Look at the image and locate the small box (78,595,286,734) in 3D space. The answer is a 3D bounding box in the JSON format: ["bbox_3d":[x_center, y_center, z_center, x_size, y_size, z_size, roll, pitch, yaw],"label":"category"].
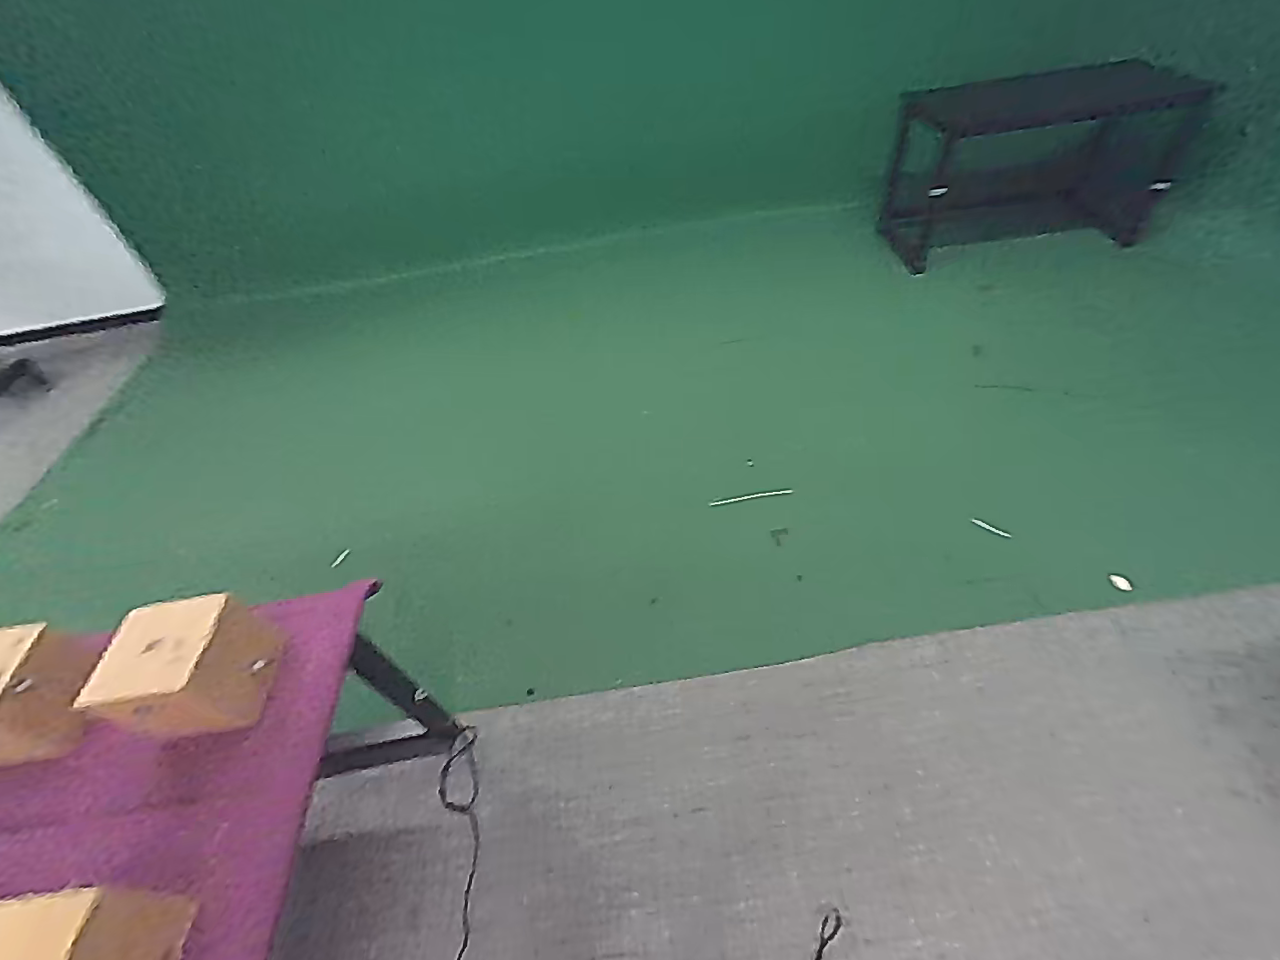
[{"bbox_3d":[-0.763,0.320,0.926,0.179,0.176,0.168,-9,48,2],"label":"small box"}]

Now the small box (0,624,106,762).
[{"bbox_3d":[-1.081,0.370,0.927,0.179,0.176,0.168,-8,49,-1],"label":"small box"}]

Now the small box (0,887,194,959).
[{"bbox_3d":[-0.713,0.614,0.654,0.179,0.176,0.168,-9,47,1],"label":"small box"}]
